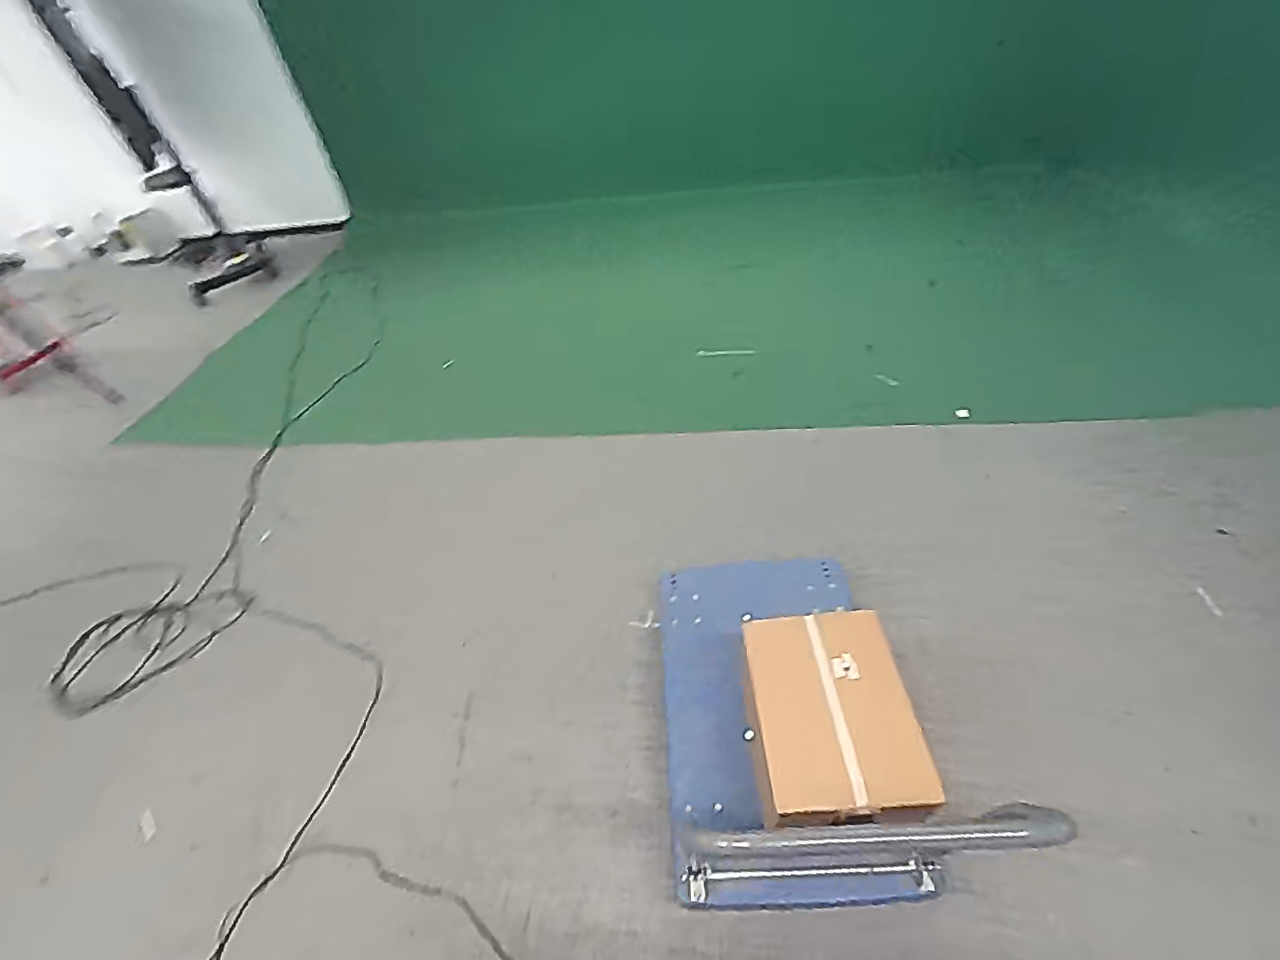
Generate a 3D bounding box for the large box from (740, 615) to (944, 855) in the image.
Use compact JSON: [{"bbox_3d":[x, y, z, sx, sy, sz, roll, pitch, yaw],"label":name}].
[{"bbox_3d":[0.417,0.577,1.237,0.320,0.320,0.408,-6,44,3],"label":"large box"}]
